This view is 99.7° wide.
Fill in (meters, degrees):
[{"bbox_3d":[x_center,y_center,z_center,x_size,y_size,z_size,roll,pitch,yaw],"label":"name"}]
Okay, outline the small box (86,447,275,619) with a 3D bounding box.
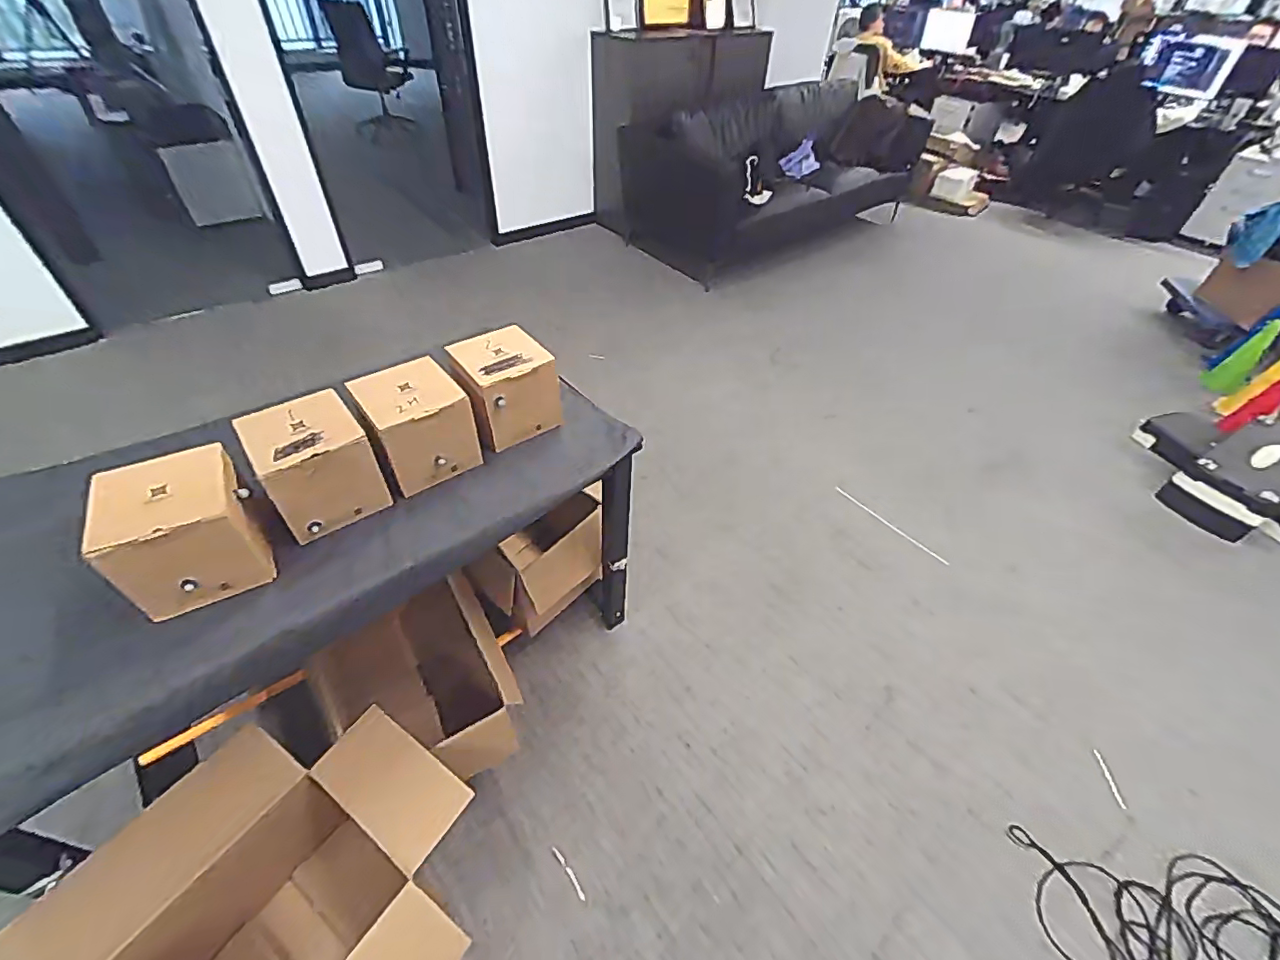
[{"bbox_3d":[-0.703,0.082,0.846,0.168,0.176,0.179,-22,50,-23],"label":"small box"}]
